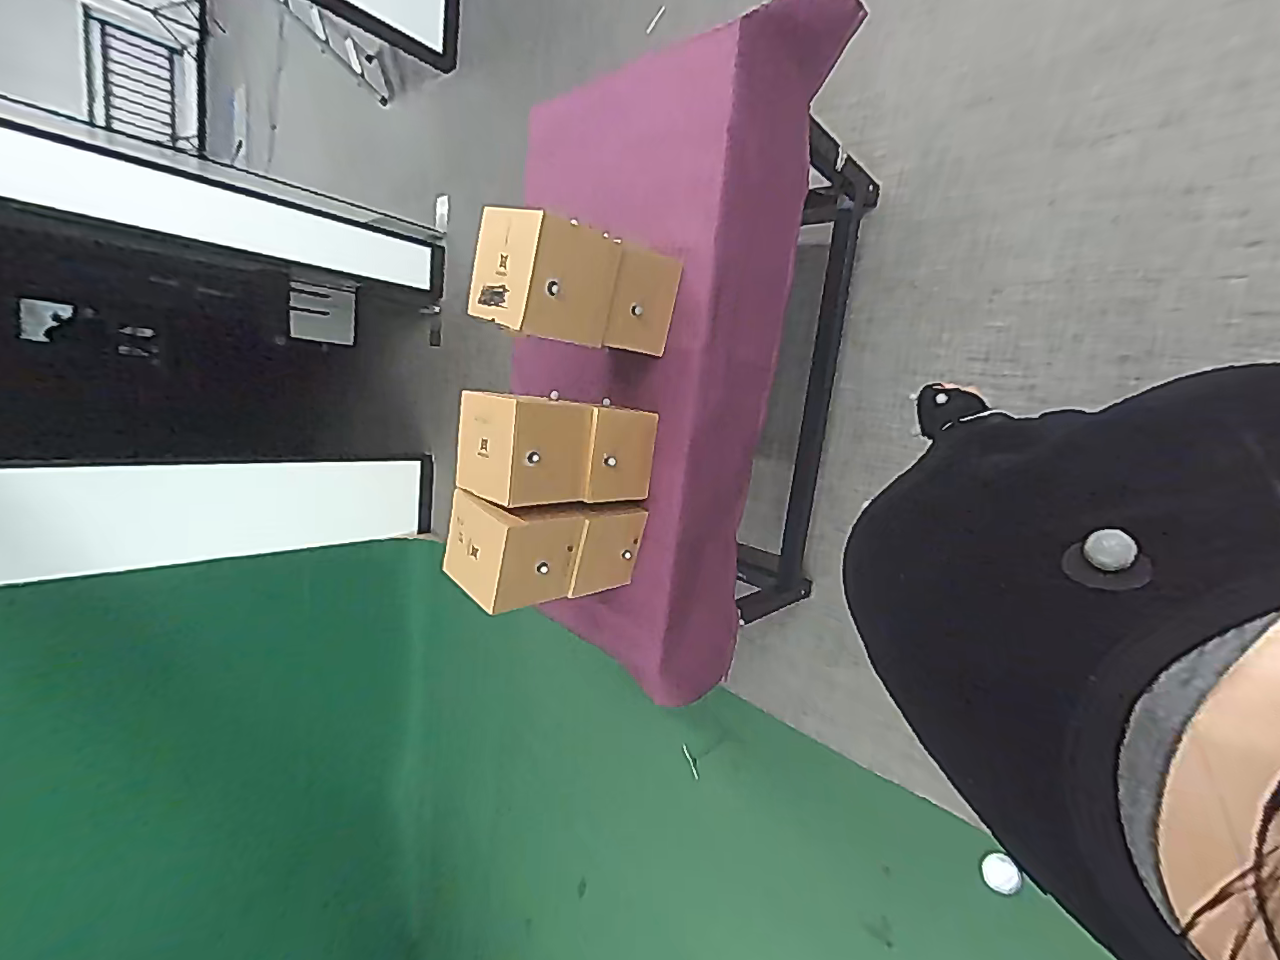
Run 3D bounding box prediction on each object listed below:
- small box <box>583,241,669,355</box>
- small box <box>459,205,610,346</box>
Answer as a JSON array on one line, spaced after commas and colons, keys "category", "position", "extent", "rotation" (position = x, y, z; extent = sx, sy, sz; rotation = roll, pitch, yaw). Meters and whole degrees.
[{"category": "small box", "position": [-0.066, -0.340, 1.018], "extent": [0.168, 0.176, 0.179], "rotation": [24, 108, 38]}, {"category": "small box", "position": [-0.172, -0.331, 0.892], "extent": [0.168, 0.176, 0.179], "rotation": [27, 108, 38]}]
